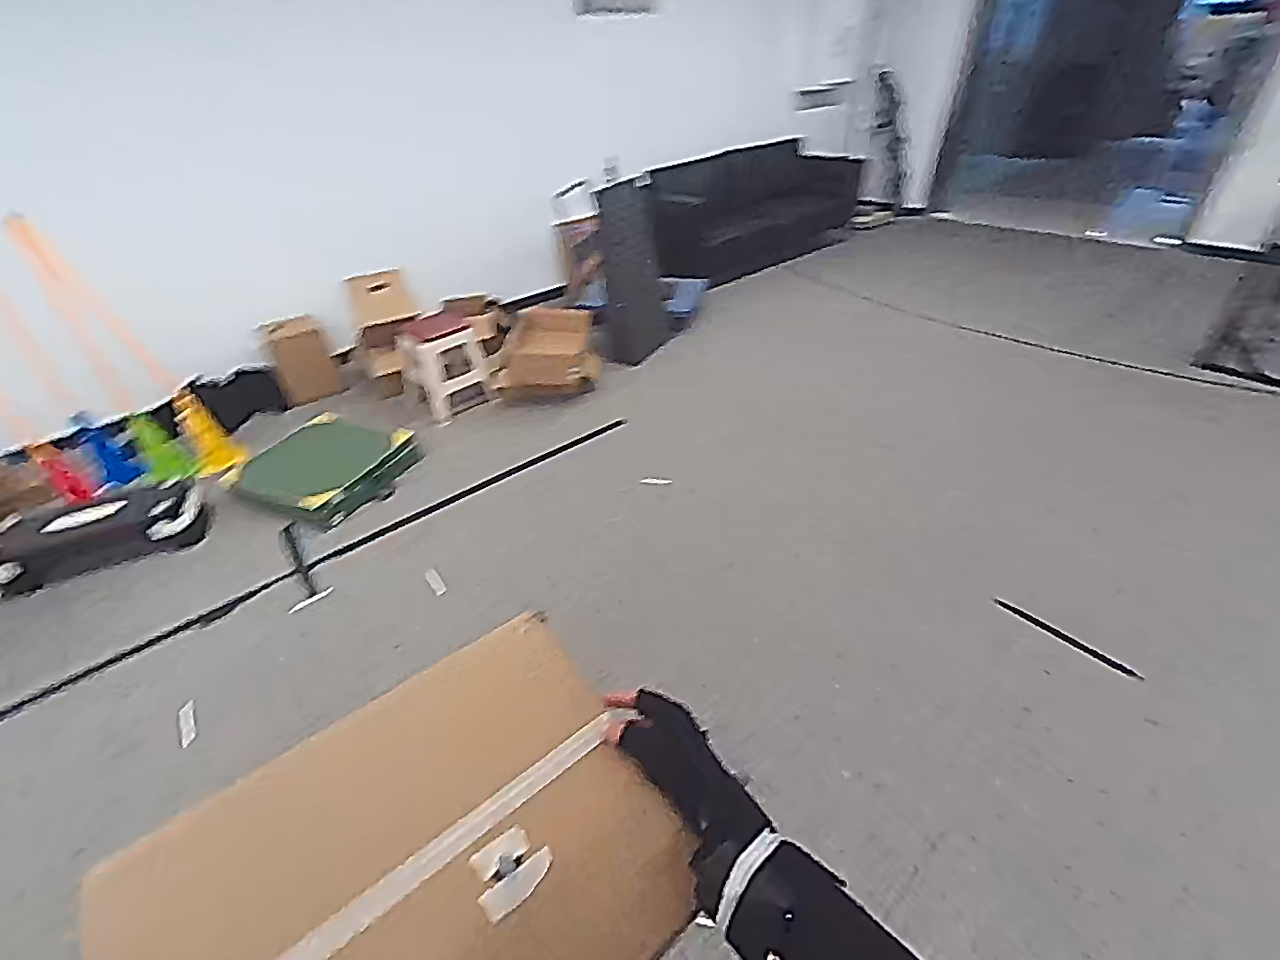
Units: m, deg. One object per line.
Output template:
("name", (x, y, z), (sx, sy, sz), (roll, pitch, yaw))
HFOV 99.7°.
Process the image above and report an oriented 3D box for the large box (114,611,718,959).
("large box", (-0.186, 0.423, 0.549), (0.408, 0.320, 0.320), (-27, 53, -28))
